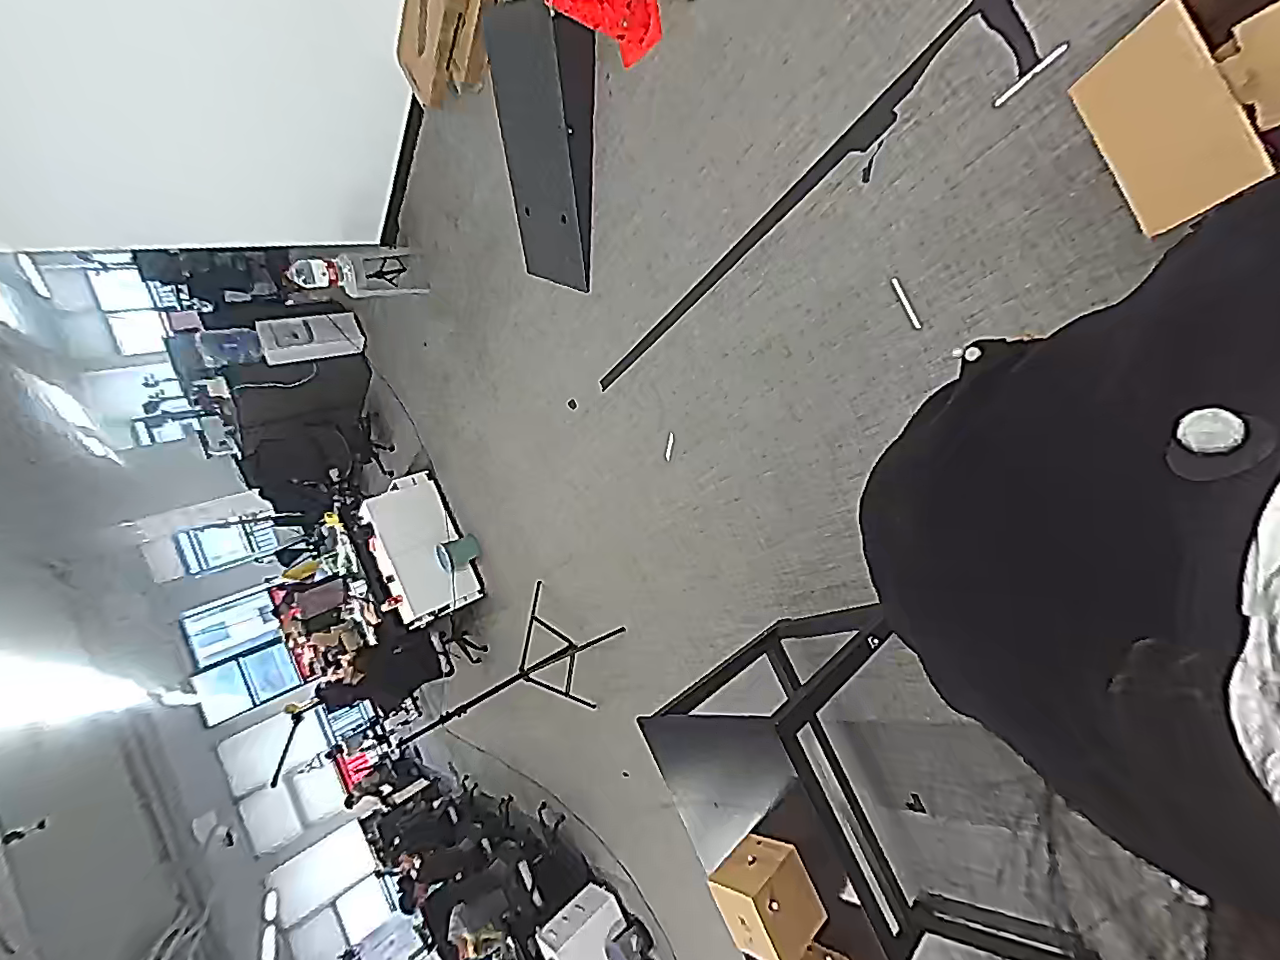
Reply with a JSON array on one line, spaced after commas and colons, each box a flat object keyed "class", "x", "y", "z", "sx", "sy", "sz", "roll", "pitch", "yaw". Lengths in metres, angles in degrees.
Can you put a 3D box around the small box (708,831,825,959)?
[{"class": "small box", "x": 0.301, "y": 0.980, "z": 1.286, "sx": 0.168, "sy": 0.176, "sz": 0.179, "roll": -33, "pitch": 81, "yaw": 54}]
